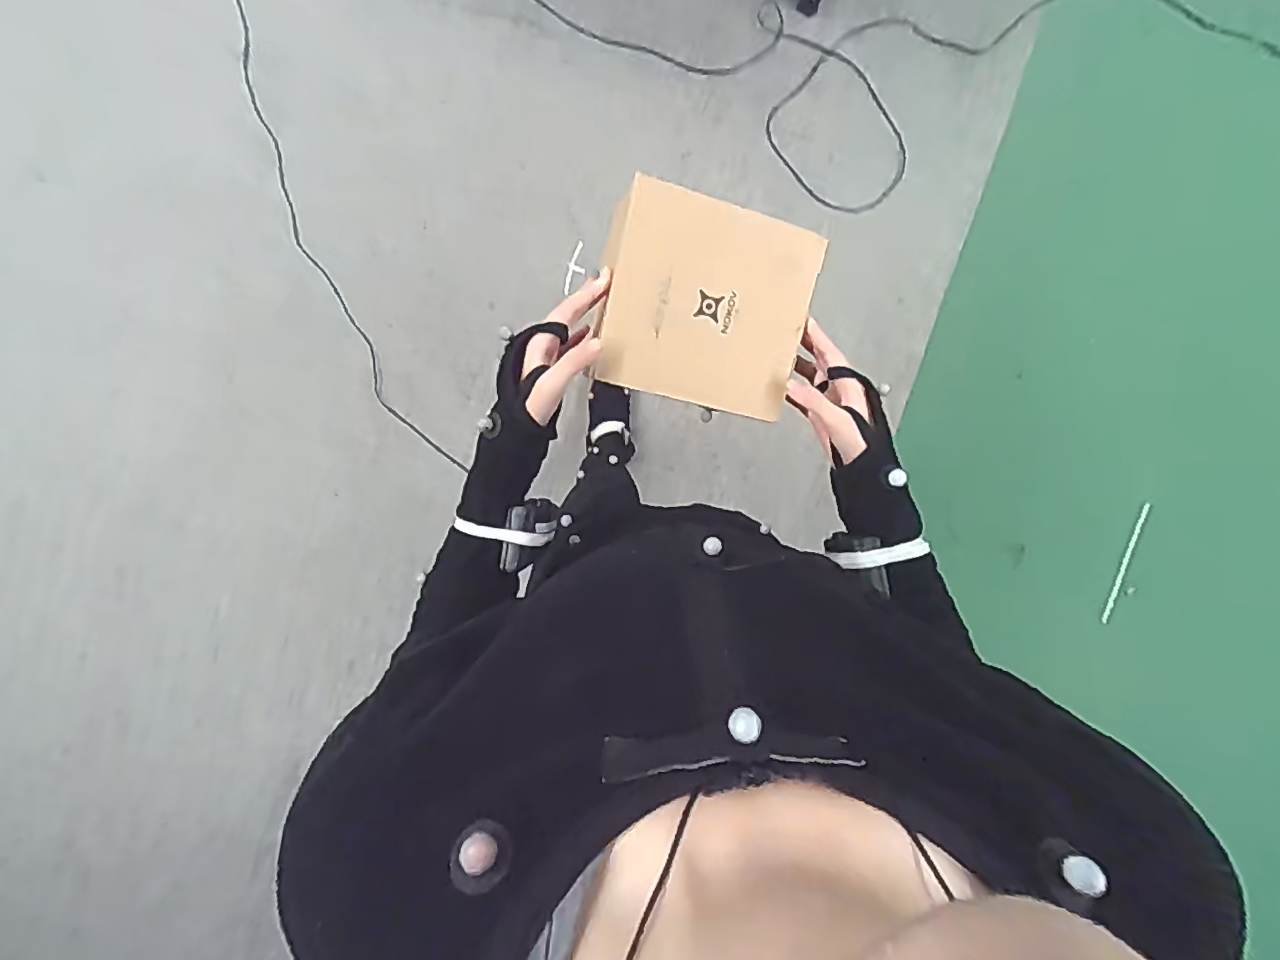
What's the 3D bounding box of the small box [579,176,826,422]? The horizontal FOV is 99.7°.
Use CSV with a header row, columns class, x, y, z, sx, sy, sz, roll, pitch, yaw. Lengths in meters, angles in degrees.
class,x,y,z,sx,sy,sz,roll,pitch,yaw
small box,0.045,-0.164,0.535,0.179,0.176,0.168,12,99,-13
